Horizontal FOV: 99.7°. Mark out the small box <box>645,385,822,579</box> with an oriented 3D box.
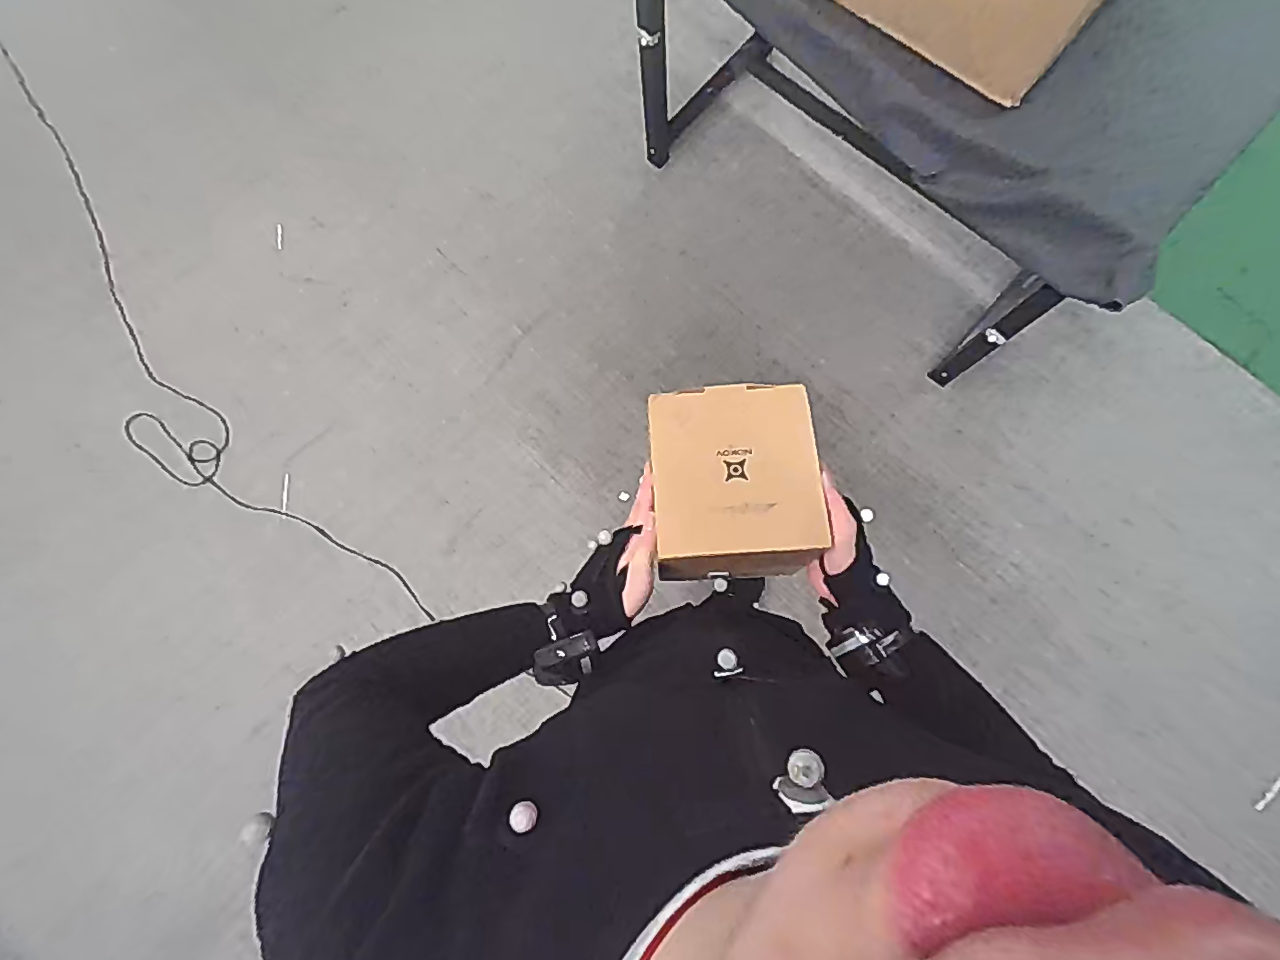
[{"bbox_3d":[0.091,0.011,0.619,0.168,0.176,0.179,-4,72,1],"label":"small box"}]
